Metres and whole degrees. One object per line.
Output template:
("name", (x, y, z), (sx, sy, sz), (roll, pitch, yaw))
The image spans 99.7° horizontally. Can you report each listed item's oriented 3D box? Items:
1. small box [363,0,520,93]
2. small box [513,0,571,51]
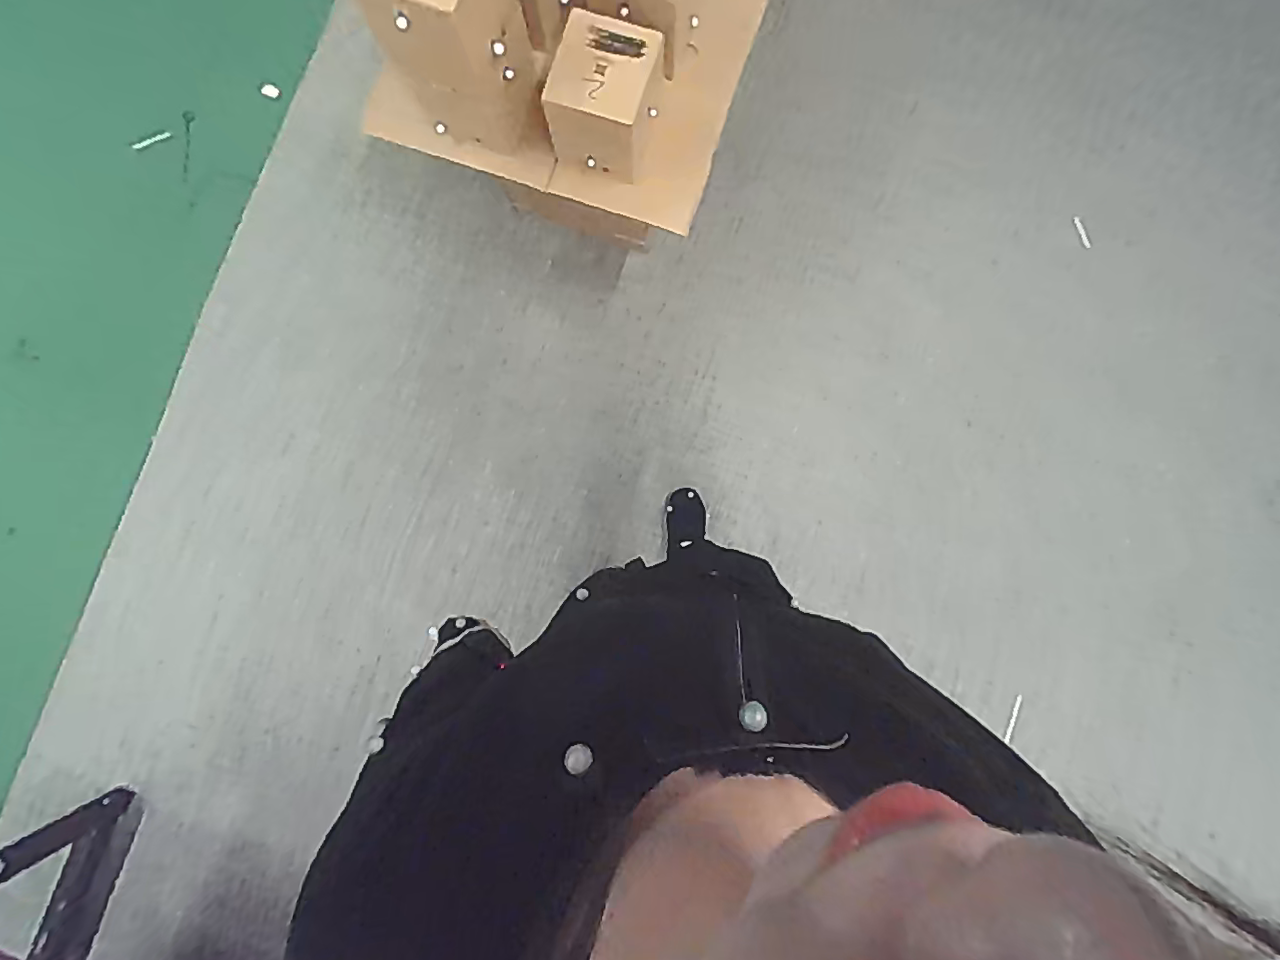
("small box", (-0.311, -0.753, 0.840), (0.179, 0.176, 0.168), (21, 89, 2))
("small box", (-0.229, -0.970, 1.013), (0.168, 0.176, 0.179), (18, 86, 4))
